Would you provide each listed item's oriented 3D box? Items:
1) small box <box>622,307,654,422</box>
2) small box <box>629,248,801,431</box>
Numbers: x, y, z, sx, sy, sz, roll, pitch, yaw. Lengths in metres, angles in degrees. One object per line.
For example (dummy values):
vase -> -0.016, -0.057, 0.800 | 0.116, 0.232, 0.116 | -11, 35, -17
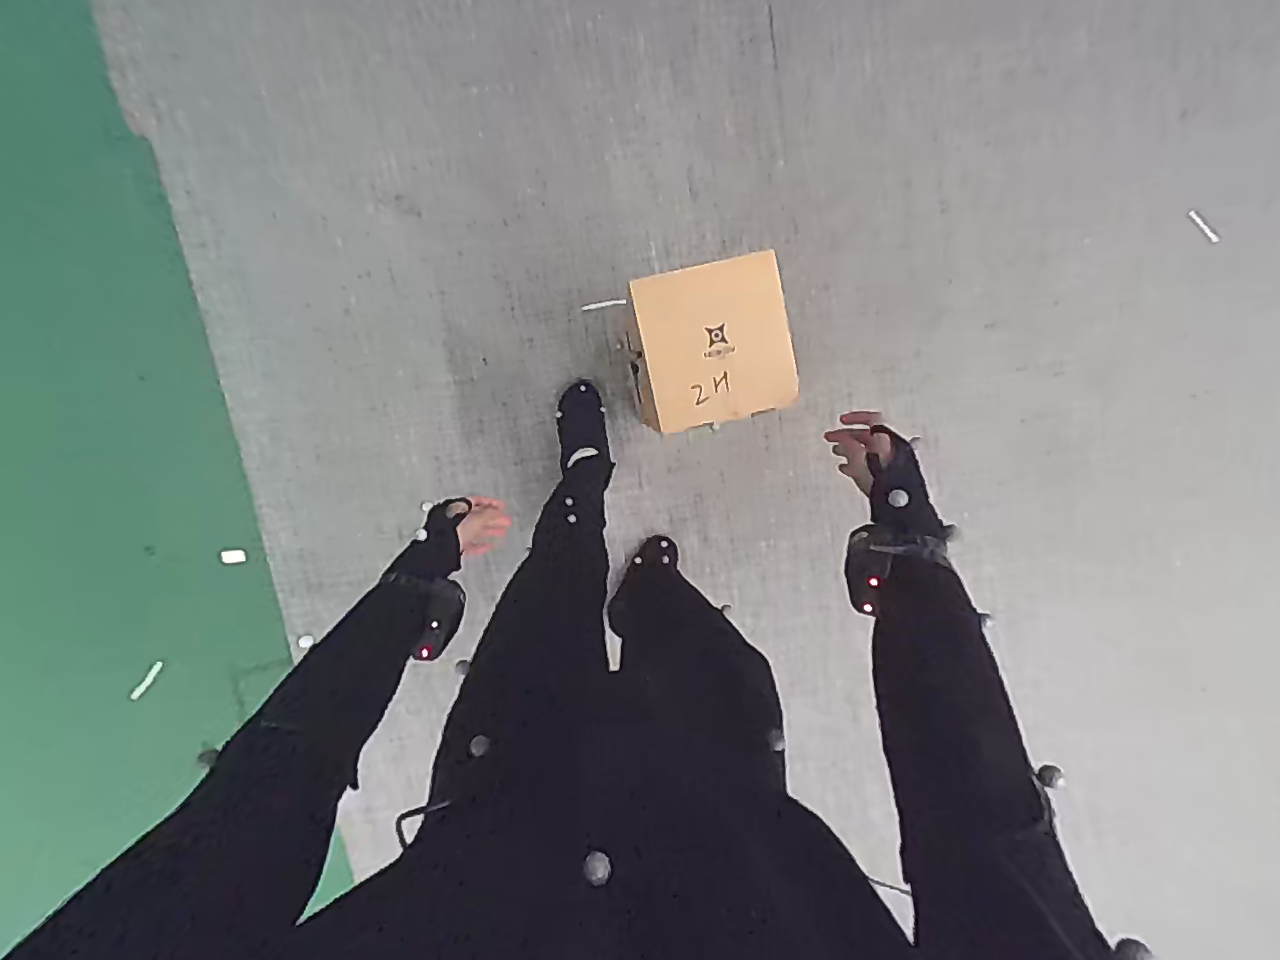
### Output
small box -> 0.072, -0.184, 0.837 | 0.179, 0.176, 0.168 | -11, 98, -2
small box -> 0.082, -0.163, 0.675 | 0.168, 0.176, 0.179 | -12, 98, 0
